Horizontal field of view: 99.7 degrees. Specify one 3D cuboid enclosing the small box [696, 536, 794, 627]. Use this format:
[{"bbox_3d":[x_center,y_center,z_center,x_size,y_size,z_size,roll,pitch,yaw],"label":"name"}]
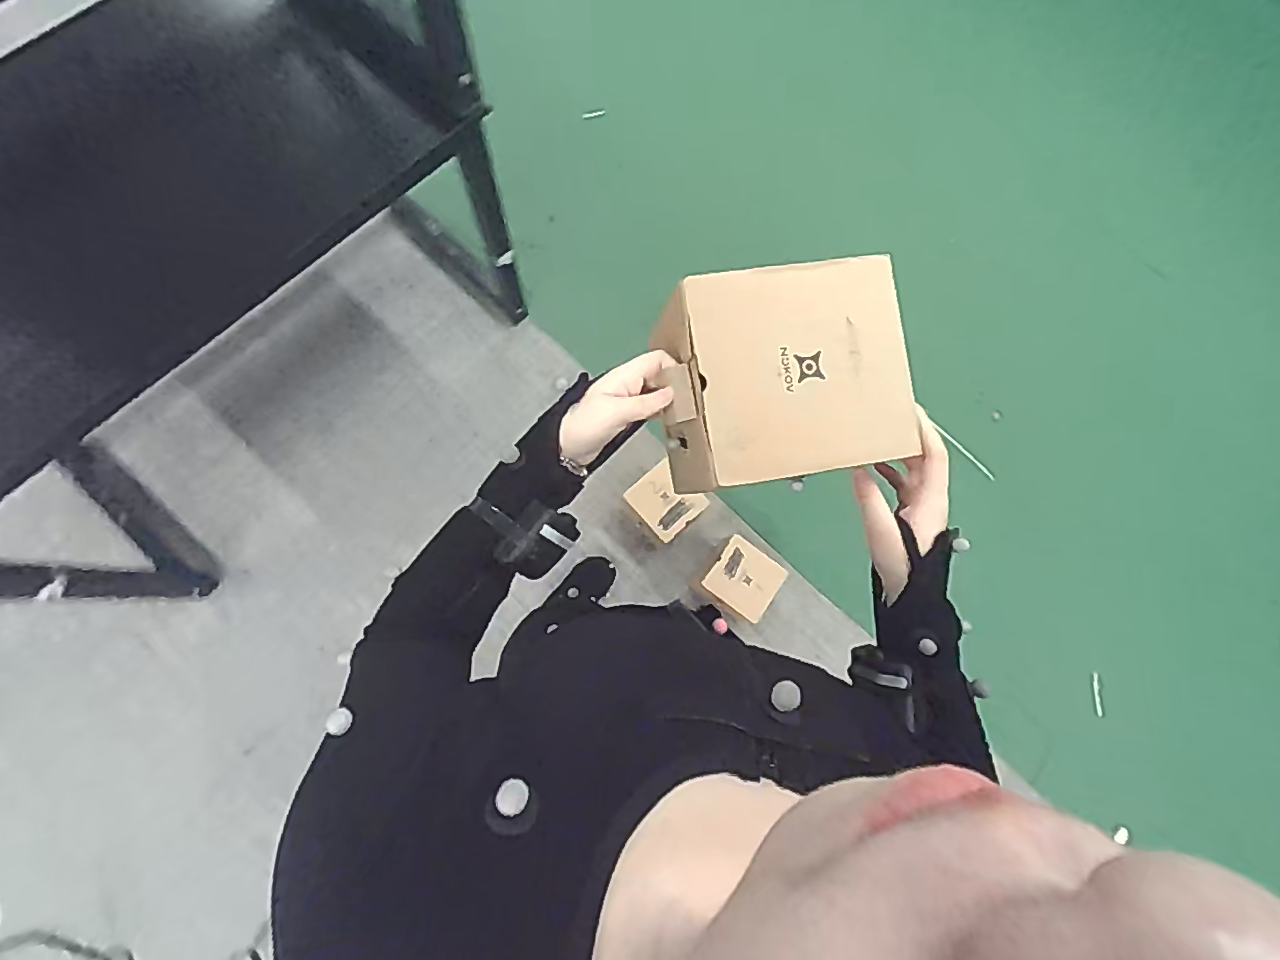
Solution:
[{"bbox_3d":[0.271,0.273,1.445,0.179,0.176,0.168,37,78,3],"label":"small box"}]
